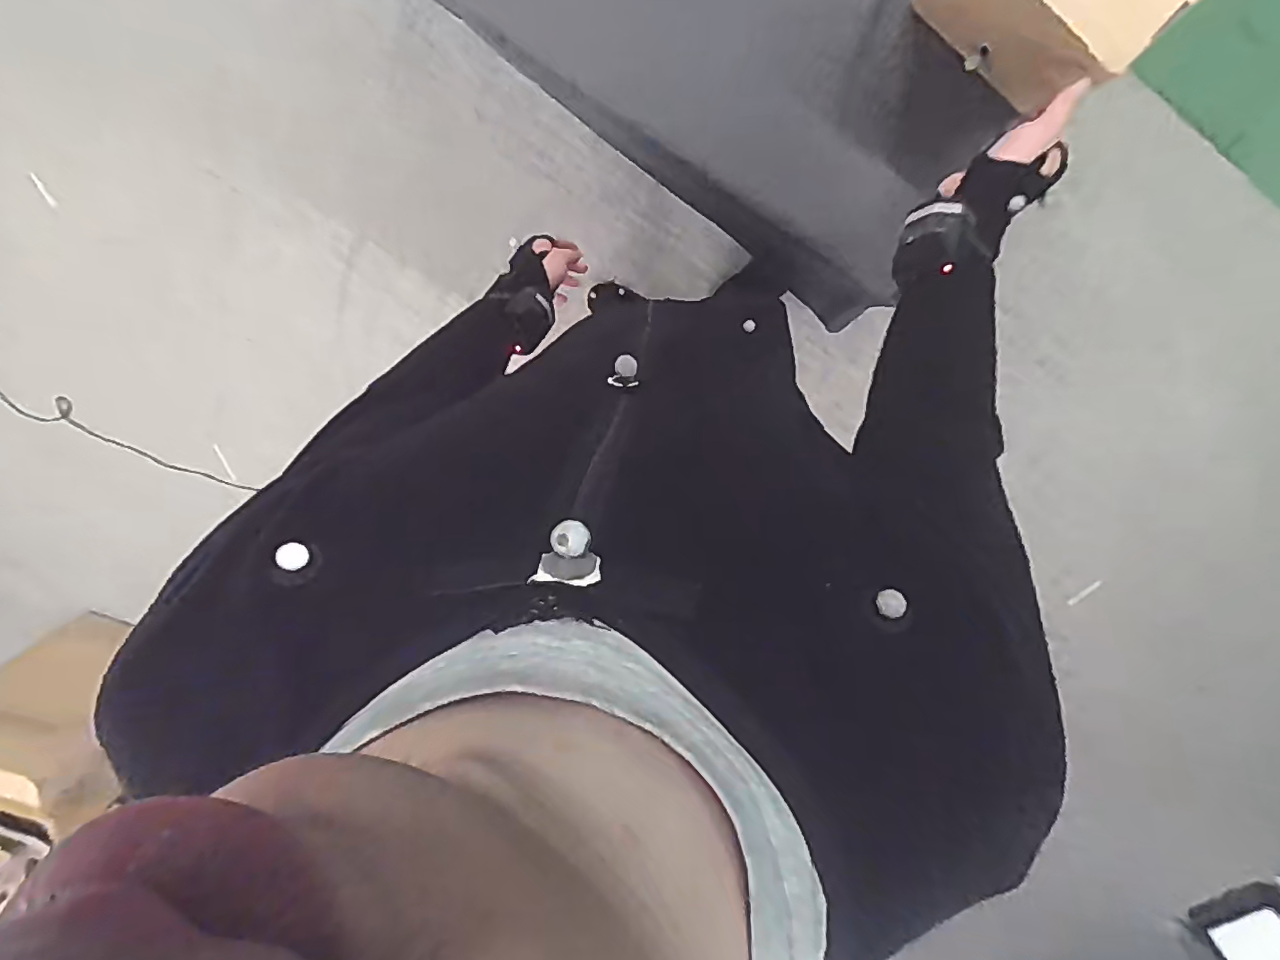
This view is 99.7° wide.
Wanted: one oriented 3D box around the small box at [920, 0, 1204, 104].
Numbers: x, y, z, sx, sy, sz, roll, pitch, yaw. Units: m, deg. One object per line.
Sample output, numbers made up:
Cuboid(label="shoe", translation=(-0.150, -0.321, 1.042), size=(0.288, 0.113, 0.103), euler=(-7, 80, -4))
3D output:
Cuboid(label="small box", translation=(0.392, -0.470, 0.477), size=(0.179, 0.176, 0.168), euler=(36, 115, -10))
